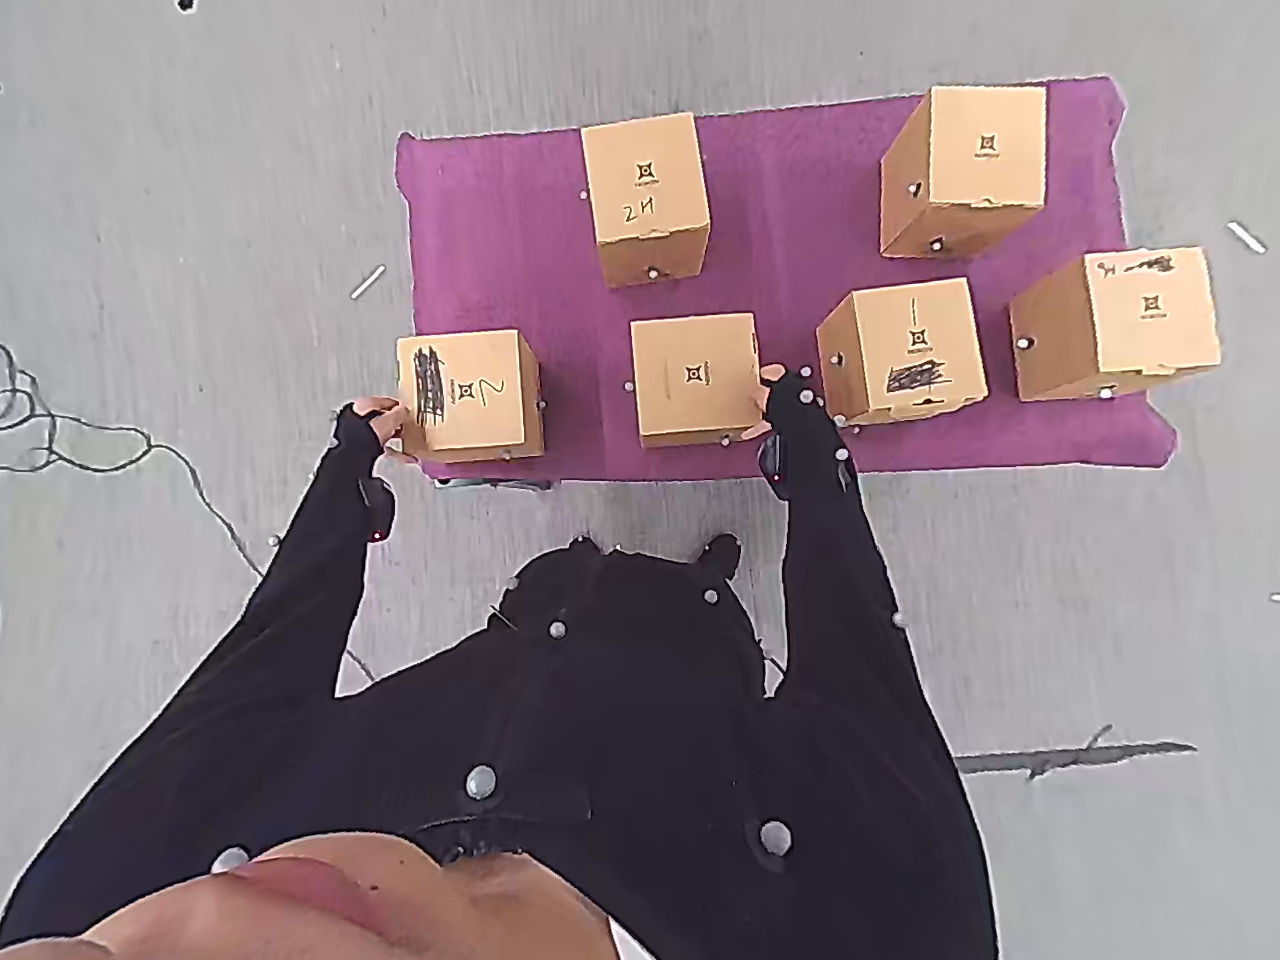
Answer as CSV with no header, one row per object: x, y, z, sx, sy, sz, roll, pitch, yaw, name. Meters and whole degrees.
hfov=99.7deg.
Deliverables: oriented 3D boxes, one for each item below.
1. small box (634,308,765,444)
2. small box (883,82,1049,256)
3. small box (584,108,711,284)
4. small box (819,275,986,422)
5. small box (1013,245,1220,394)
0.082,-0.151,0.832,0.179,0.176,0.168,-5,86,0,small box
0.496,-0.476,0.845,0.168,0.176,0.179,1,88,2,small box
0.010,-0.434,0.850,0.168,0.176,0.179,-8,87,1,small box
0.388,-0.188,0.829,0.168,0.176,0.179,-6,86,1,small box
0.708,-0.231,0.823,0.168,0.176,0.179,-2,85,1,small box
